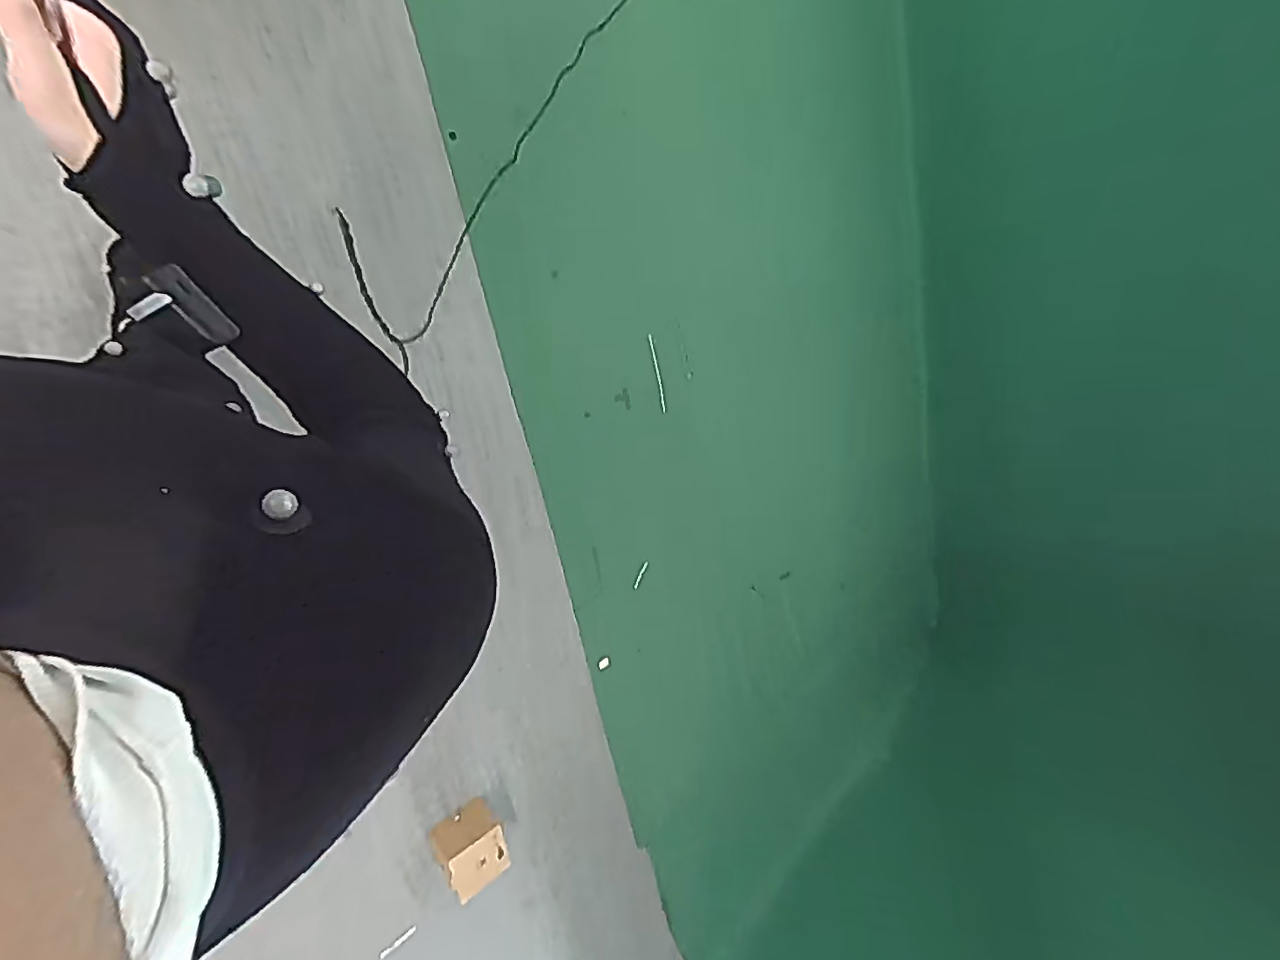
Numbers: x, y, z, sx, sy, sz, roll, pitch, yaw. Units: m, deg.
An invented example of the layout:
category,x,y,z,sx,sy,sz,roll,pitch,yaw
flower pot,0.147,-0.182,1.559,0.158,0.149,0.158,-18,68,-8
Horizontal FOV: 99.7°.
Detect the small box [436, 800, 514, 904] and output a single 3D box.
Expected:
category,x,y,z,sx,sy,sz,roll,pitch,yaw
small box,-0.533,1.175,1.723,0.179,0.176,0.168,-21,107,-37
